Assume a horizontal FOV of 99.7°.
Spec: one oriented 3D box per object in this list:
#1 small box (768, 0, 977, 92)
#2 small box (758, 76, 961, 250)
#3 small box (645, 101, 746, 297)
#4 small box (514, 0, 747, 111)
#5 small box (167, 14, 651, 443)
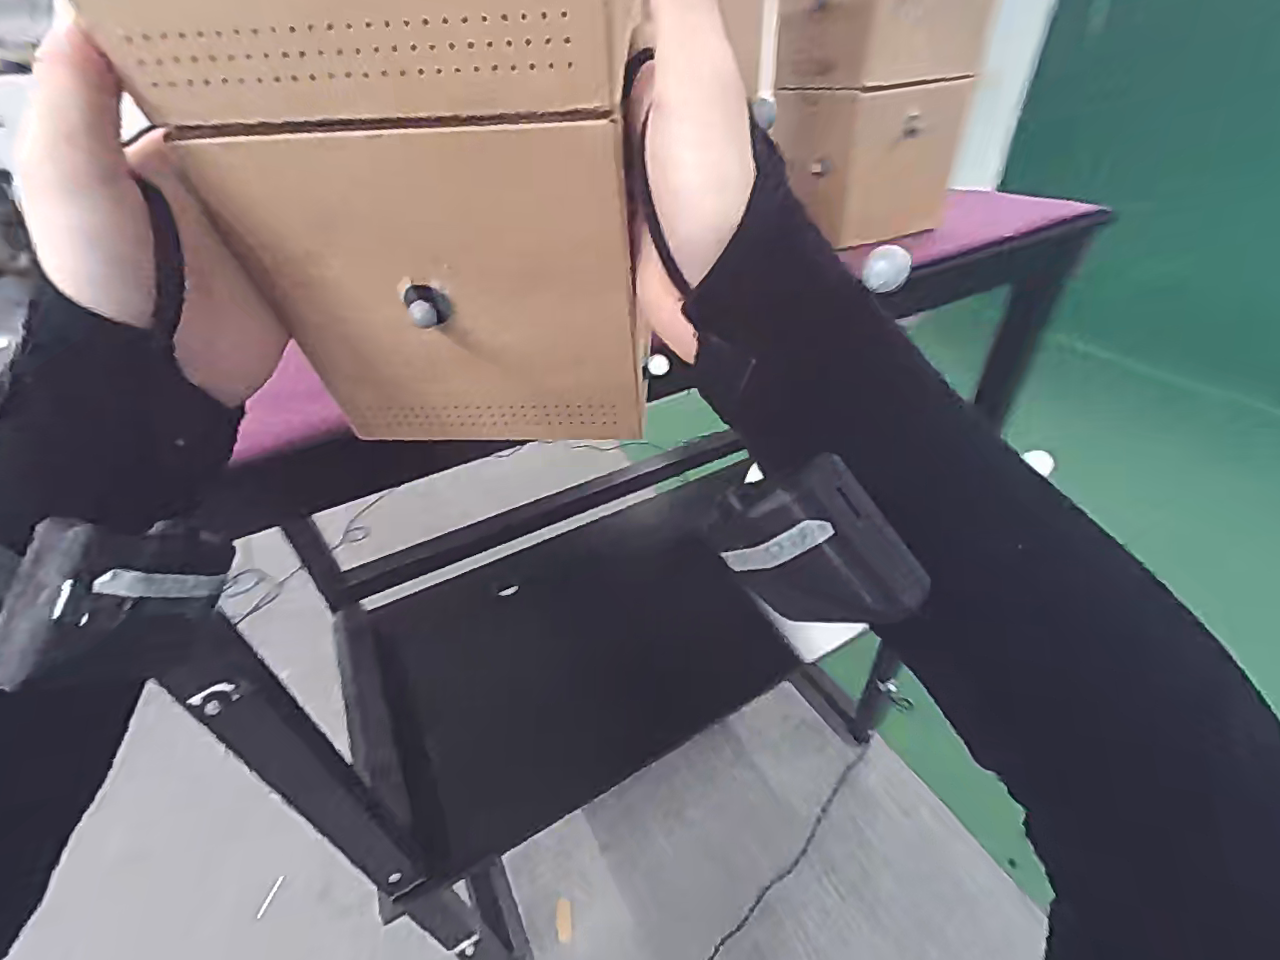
[{"bbox_3d":[0.259,-0.542,0.607,0.179,0.176,0.168,-21,41,-18],"label":"small box"},{"bbox_3d":[0.270,-0.412,0.706,0.179,0.176,0.168,-19,40,-18],"label":"small box"},{"bbox_3d":[-0.001,-0.310,0.601,0.179,0.176,0.168,-22,40,-22],"label":"small box"},{"bbox_3d":[-0.011,-0.442,0.503,0.179,0.176,0.168,-21,40,-21],"label":"small box"},{"bbox_3d":[-0.085,-0.134,0.309,0.179,0.176,0.168,0,51,5],"label":"small box"}]
